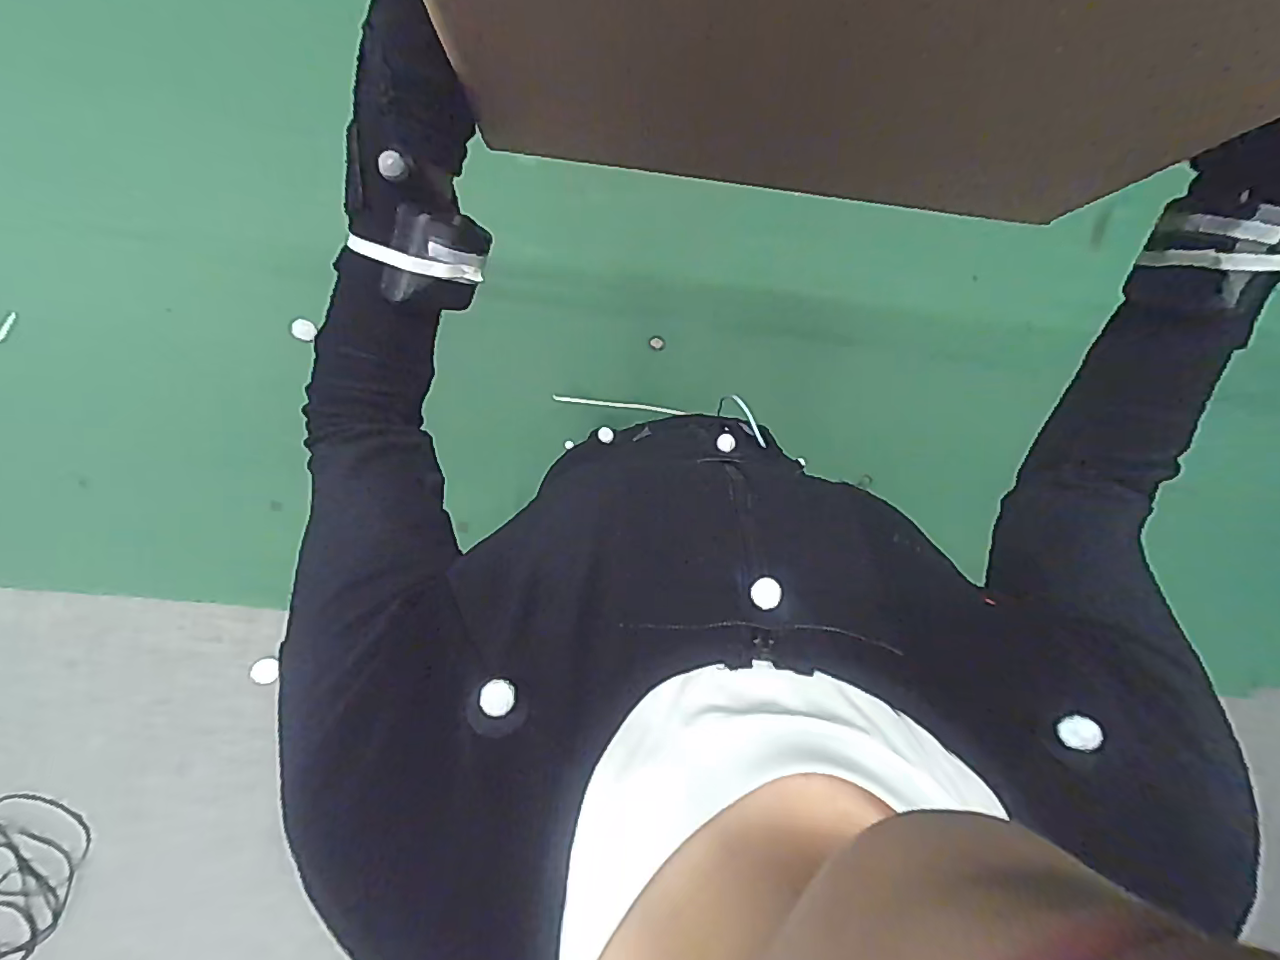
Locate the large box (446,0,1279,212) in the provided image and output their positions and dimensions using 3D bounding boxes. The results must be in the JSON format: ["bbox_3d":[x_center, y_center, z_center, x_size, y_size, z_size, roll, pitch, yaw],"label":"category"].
[{"bbox_3d":[0.121,-0.346,0.218,0.408,0.320,0.320,5,95,-5],"label":"large box"}]
